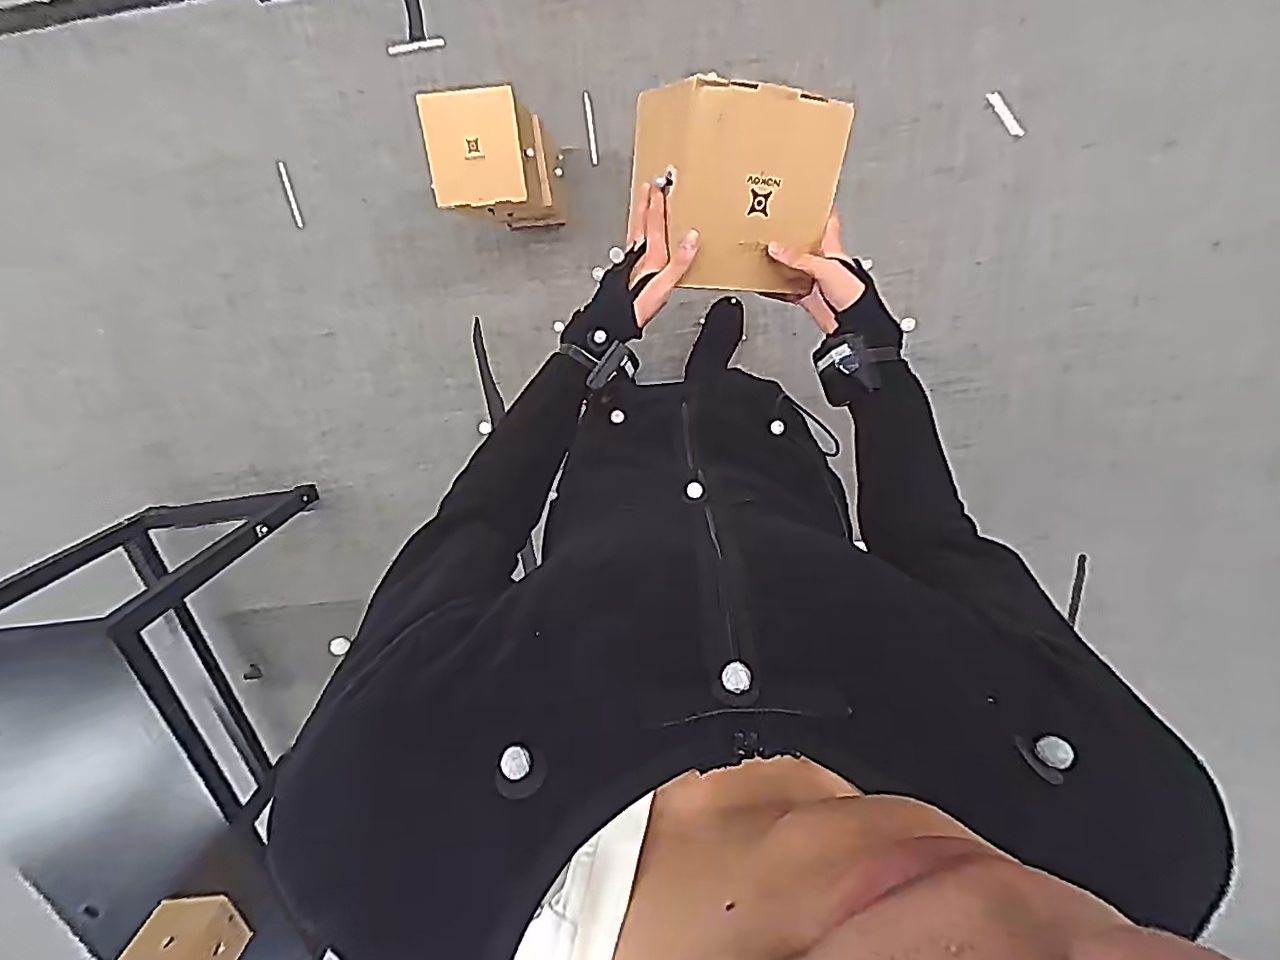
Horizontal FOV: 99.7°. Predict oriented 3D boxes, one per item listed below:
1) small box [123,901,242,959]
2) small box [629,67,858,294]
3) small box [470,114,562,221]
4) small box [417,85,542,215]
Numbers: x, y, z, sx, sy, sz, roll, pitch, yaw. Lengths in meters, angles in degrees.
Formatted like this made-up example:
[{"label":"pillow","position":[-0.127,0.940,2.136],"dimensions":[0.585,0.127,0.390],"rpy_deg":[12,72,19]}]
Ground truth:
[{"label":"small box","position":[-1.119,1.163,1.315],"dimensions":[0.179,0.176,0.168],"rpy_deg":[-8,112,4]},{"label":"small box","position":[0.093,-0.311,0.580],"dimensions":[0.168,0.176,0.179],"rpy_deg":[-3,121,-18]},{"label":"small box","position":[-0.274,-0.658,1.157],"dimensions":[0.179,0.176,0.168],"rpy_deg":[-6,112,2]},{"label":"small box","position":[-0.286,-0.601,1.004],"dimensions":[0.168,0.176,0.179],"rpy_deg":[-4,113,2]}]
